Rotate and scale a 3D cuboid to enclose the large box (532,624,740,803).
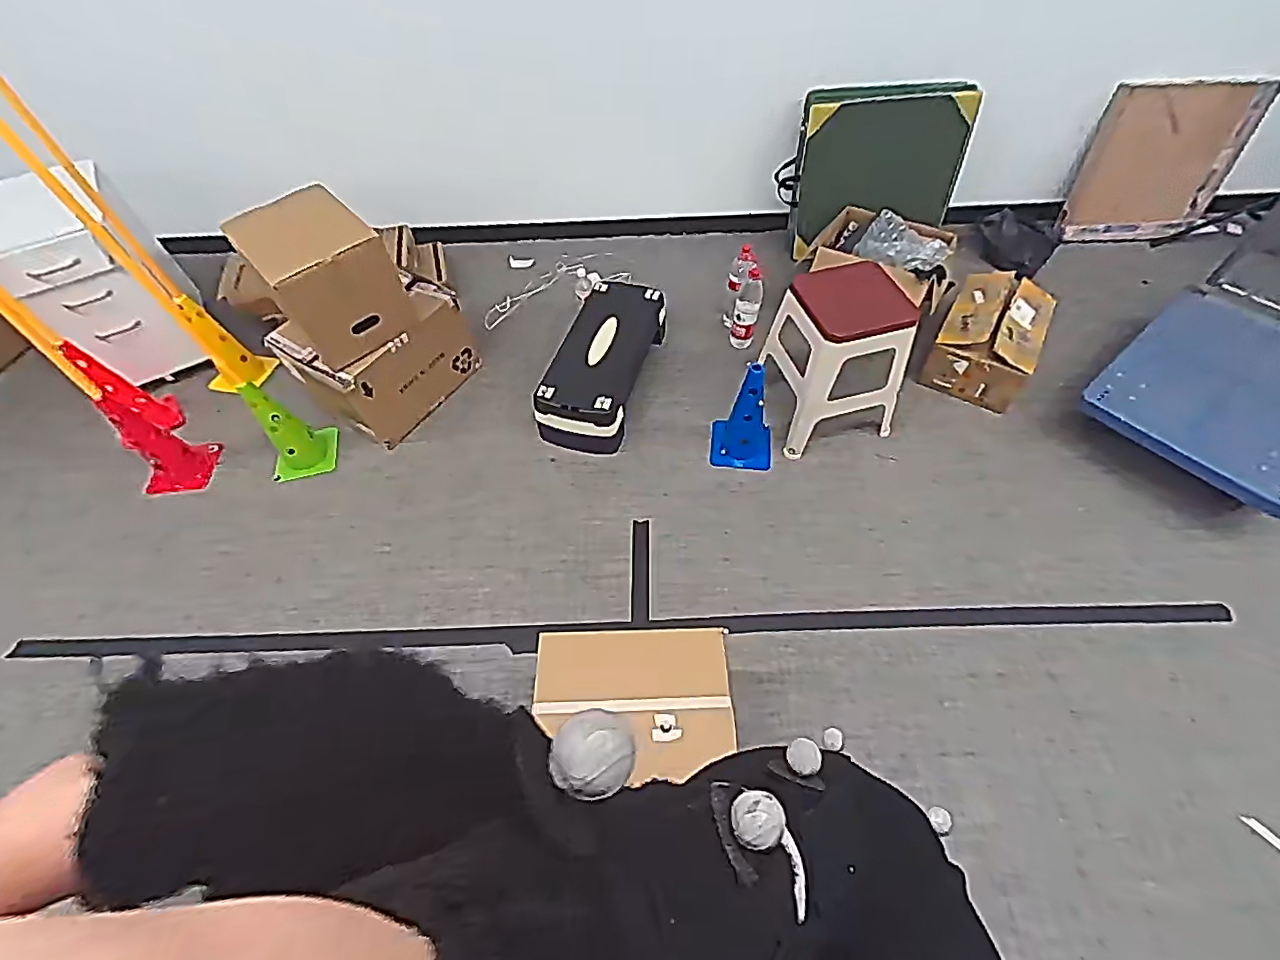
[{"bbox_3d":[-0.013,0.534,1.224,0.408,0.320,0.320,-1,56,-1],"label":"large box"}]
